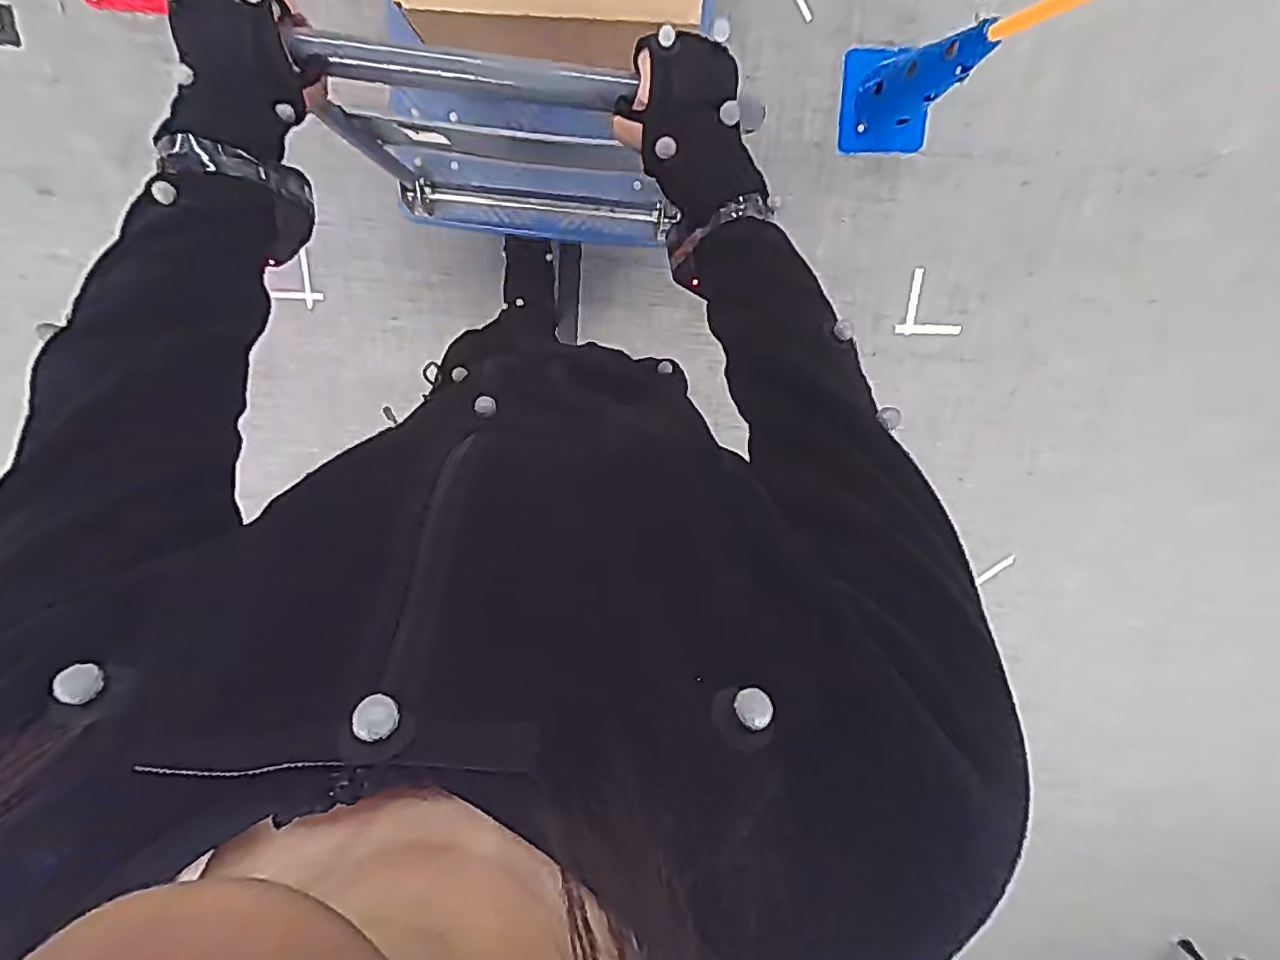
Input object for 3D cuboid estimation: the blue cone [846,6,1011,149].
[{"bbox_3d":[0.564,-0.789,1.042,0.193,0.380,0.192,-1,109,-4],"label":"blue cone"}]
